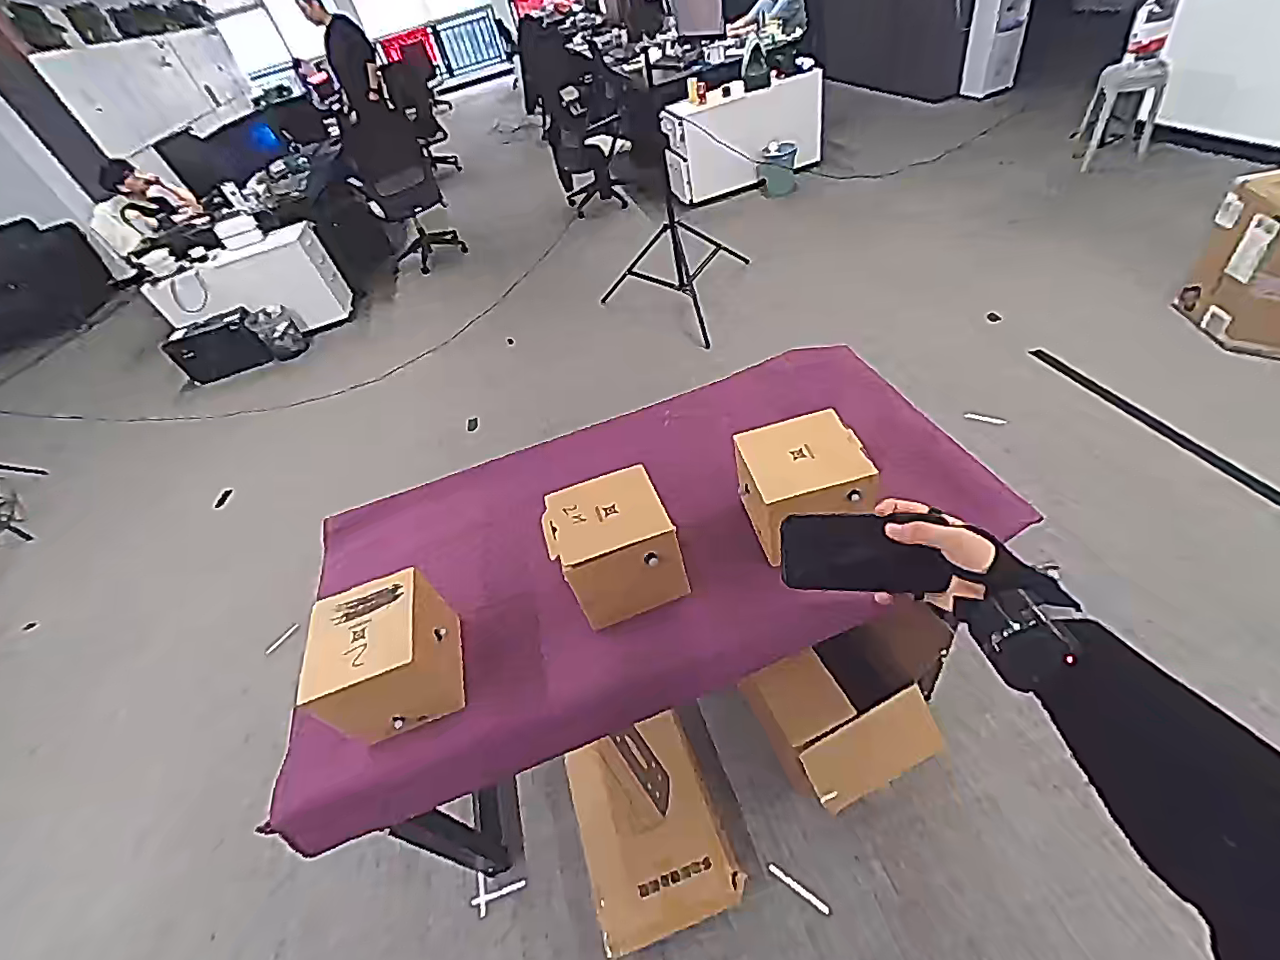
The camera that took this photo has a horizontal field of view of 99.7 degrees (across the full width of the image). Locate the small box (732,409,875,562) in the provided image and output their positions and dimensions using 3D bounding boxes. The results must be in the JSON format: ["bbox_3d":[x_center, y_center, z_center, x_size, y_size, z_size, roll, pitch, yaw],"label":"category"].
[{"bbox_3d":[0.267,0.013,0.902,0.179,0.176,0.168,-16,44,1],"label":"small box"}]

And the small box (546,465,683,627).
[{"bbox_3d":[-0.037,0.110,0.896,0.179,0.176,0.168,-21,42,-4],"label":"small box"}]
